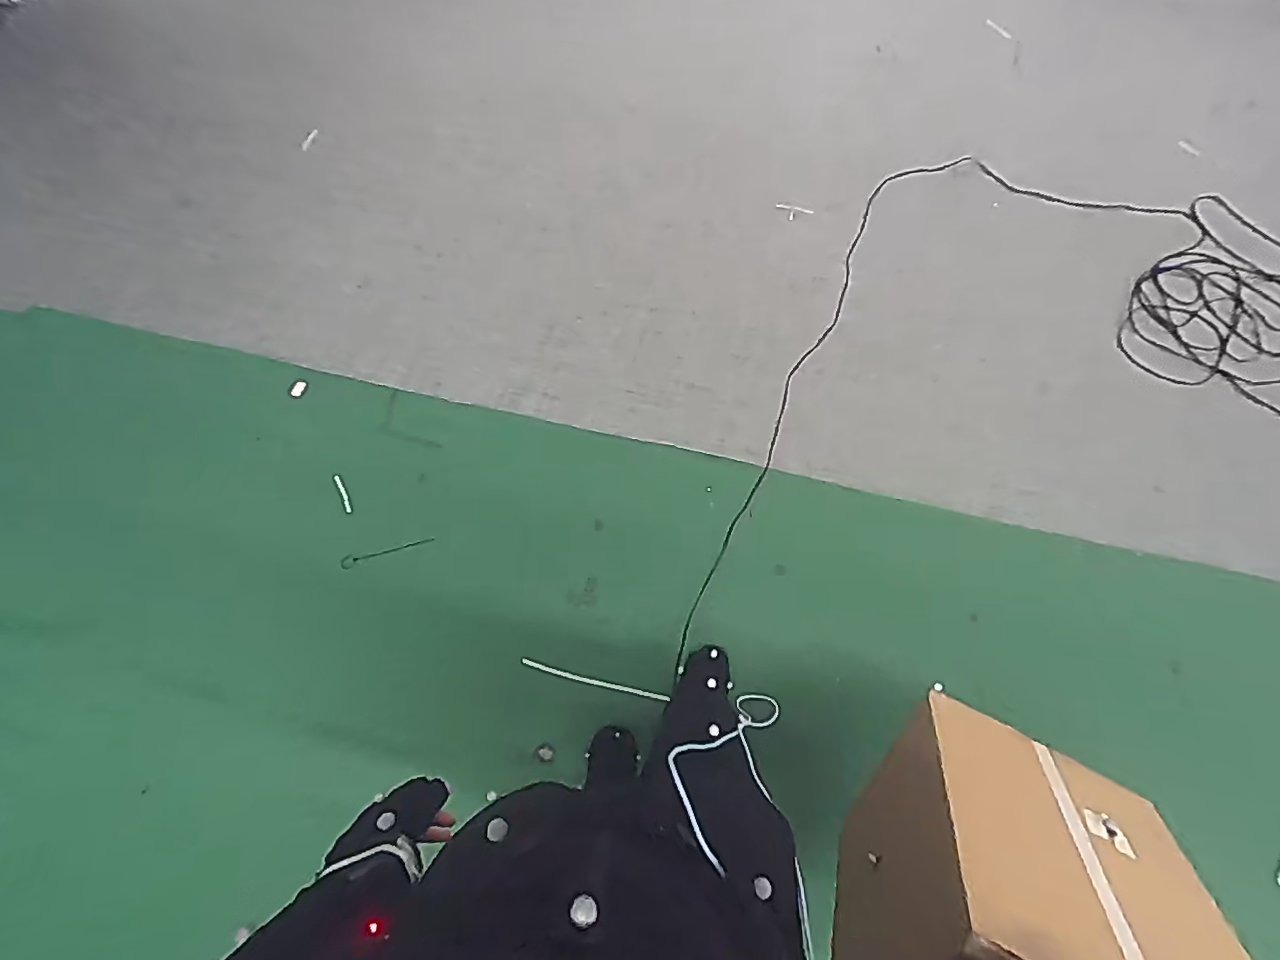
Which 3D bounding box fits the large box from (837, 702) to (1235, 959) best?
[{"bbox_3d":[0.454,0.577,0.668,0.320,0.408,0.320,27,109,16],"label":"large box"}]
